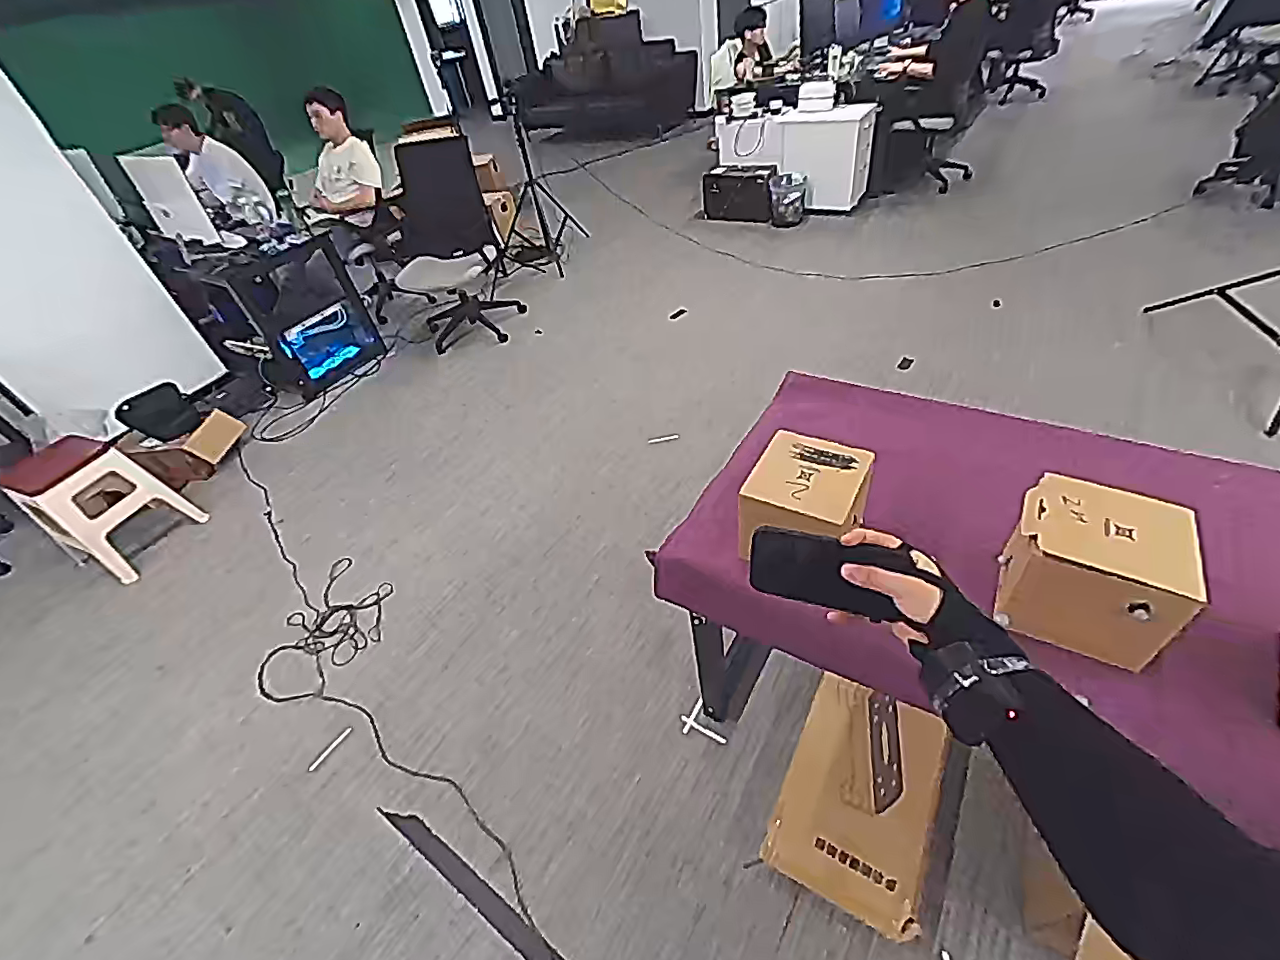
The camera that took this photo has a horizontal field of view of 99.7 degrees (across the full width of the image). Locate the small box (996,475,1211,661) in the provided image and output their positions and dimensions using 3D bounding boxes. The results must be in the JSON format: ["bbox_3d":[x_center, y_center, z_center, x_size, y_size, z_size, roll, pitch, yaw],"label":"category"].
[{"bbox_3d":[0.633,0.125,0.758,0.179,0.176,0.168,17,48,27],"label":"small box"}]
